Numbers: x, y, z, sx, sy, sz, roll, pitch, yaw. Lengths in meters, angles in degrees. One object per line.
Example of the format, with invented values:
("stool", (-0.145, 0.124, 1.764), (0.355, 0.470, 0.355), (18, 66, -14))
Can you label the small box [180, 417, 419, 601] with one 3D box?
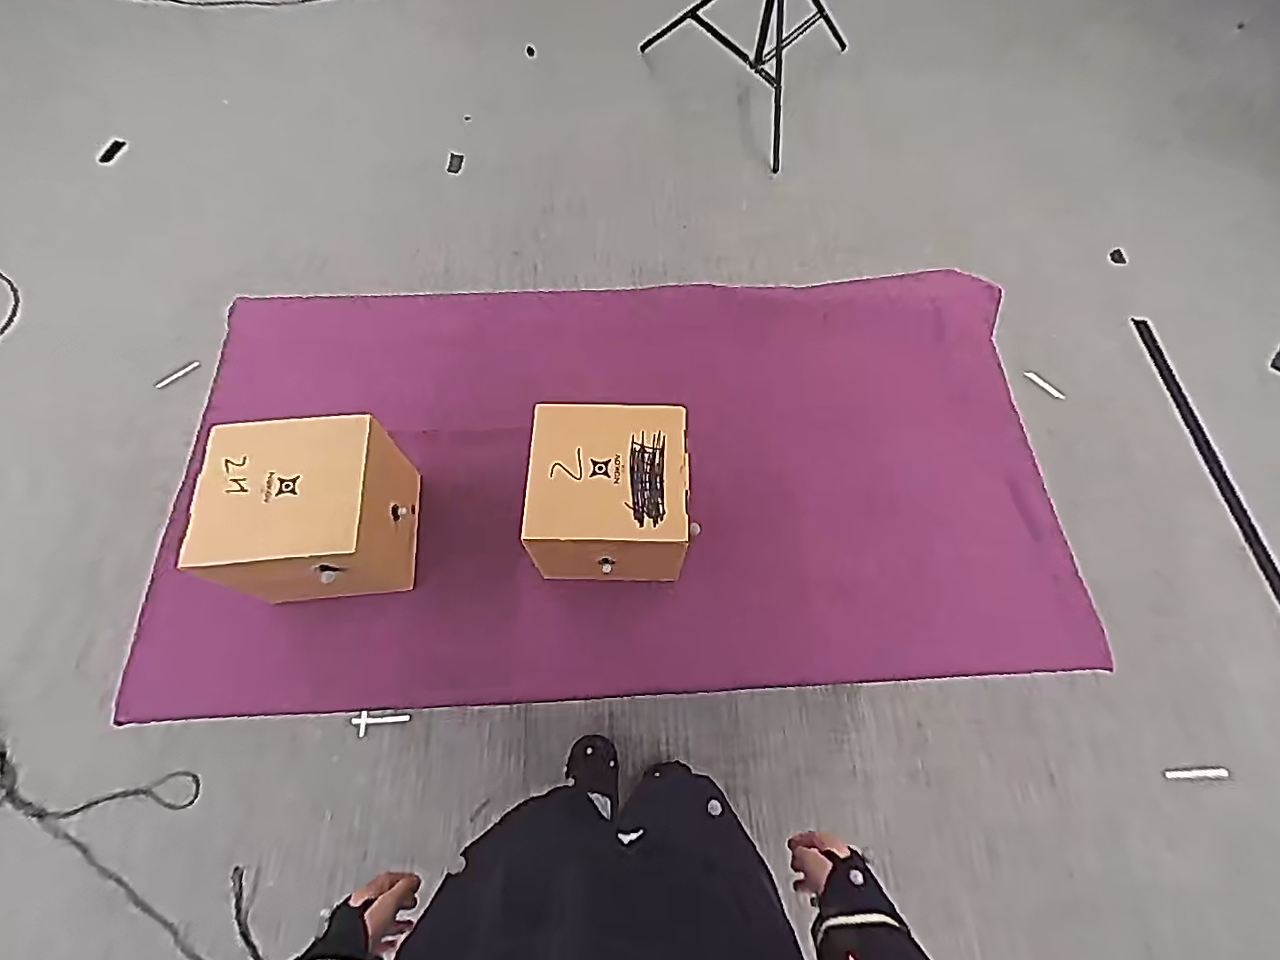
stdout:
("small box", (-0.379, 0.041, 0.645), (0.179, 0.176, 0.168), (-5, 65, -3))
